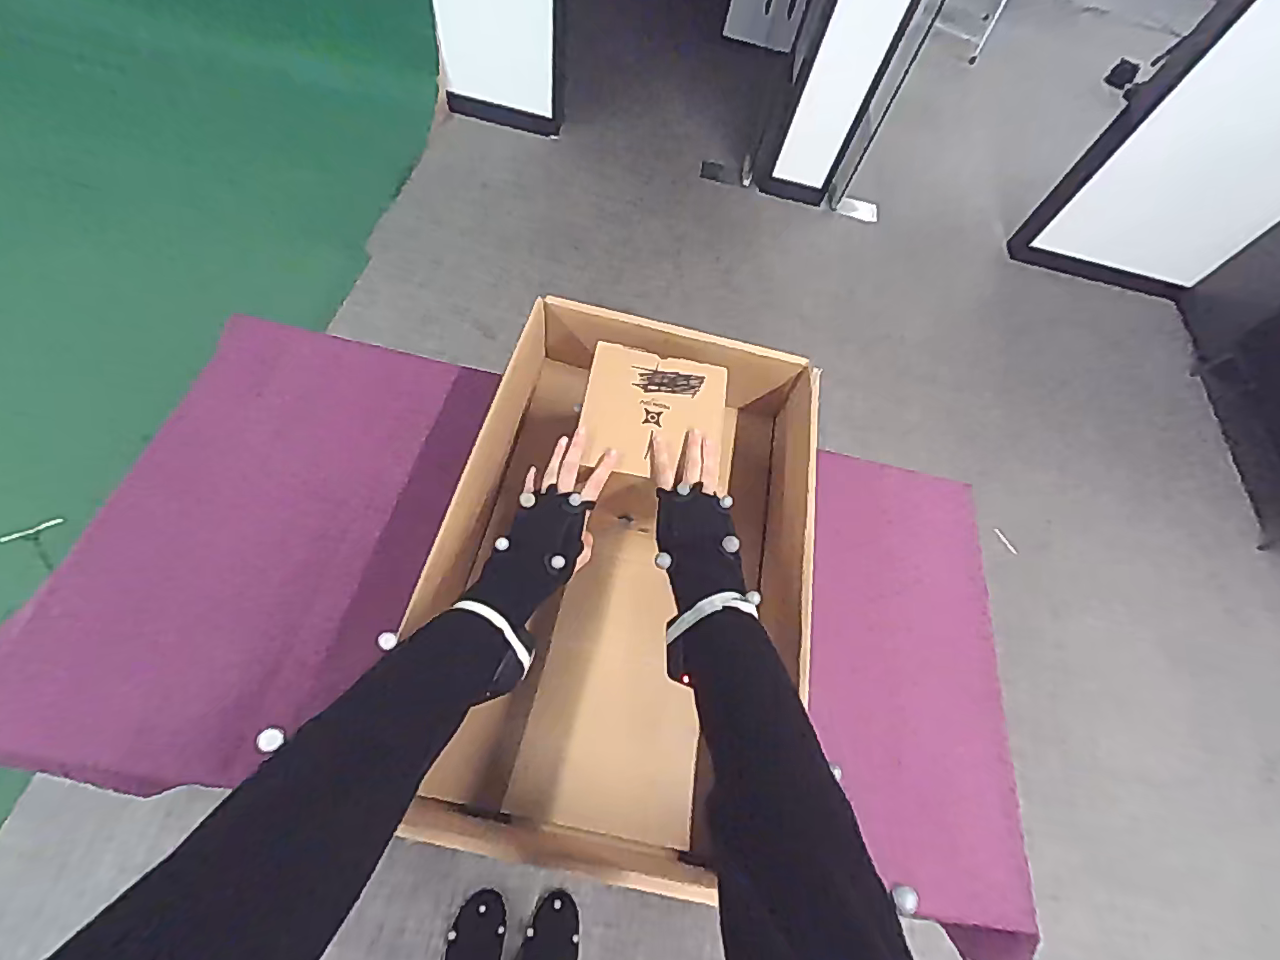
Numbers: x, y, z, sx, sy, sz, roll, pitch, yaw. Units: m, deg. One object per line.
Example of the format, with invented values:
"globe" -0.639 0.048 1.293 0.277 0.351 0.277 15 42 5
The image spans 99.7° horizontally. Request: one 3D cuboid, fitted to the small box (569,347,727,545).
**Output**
"small box" 0.005 -0.036 0.696 0.168 0.176 0.179 11 63 -4
